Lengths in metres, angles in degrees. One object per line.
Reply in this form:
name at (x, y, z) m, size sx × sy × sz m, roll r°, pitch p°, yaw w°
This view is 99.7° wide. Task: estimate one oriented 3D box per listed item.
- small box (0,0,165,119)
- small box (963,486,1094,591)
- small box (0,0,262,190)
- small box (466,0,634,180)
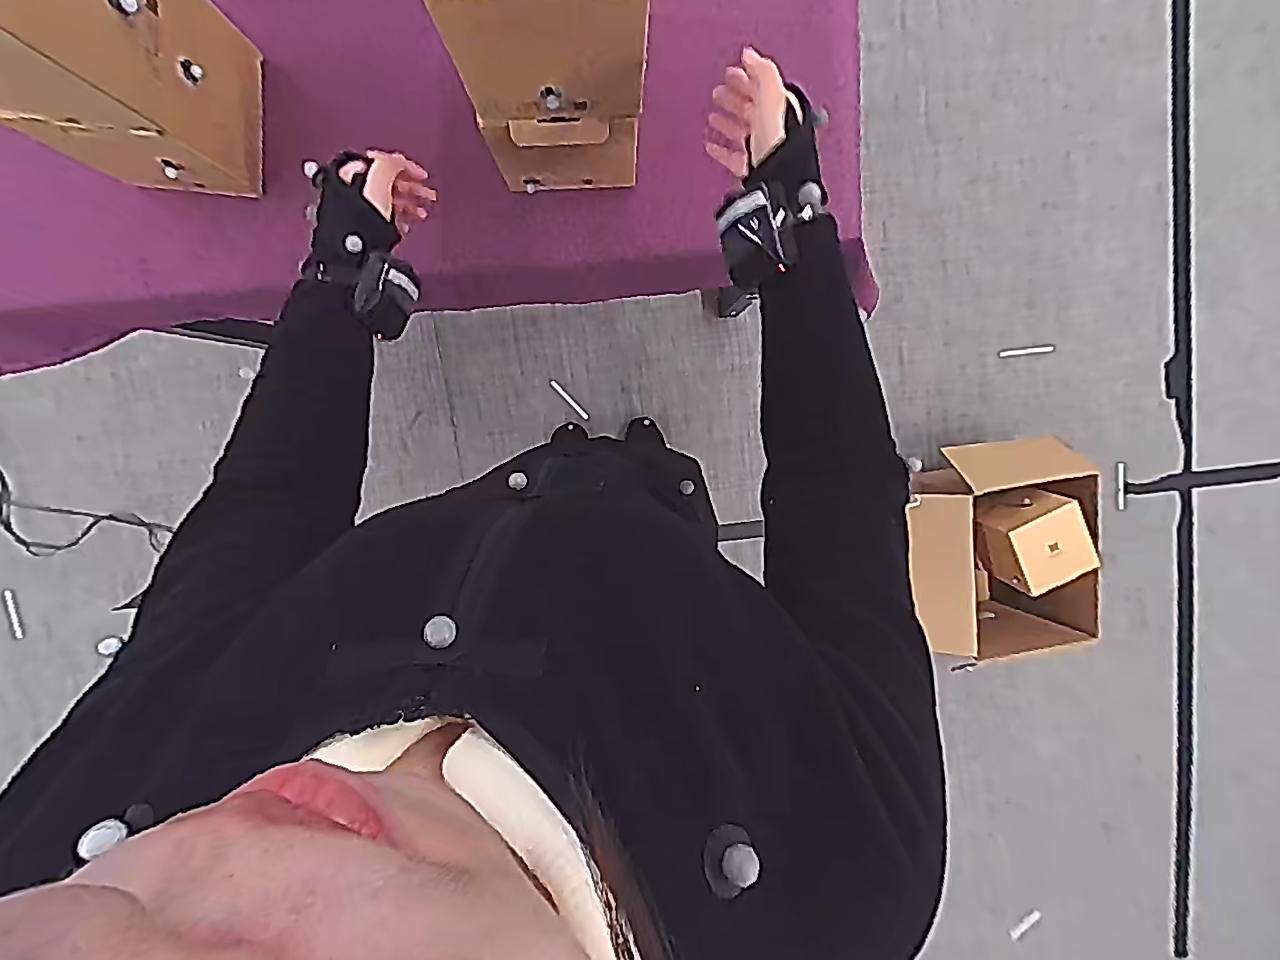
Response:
small box at (-0.543, -0.429, 0.439) m, size 0.179 × 0.176 × 0.168 m, roll 6°, pitch 98°, yaw -4°
small box at (0.915, 0.129, 1.289) m, size 0.168 × 0.176 × 0.179 m, roll -28°, pitch 102°, yaw 4°
small box at (-0.556, -0.449, 0.601) m, size 0.168 × 0.176 × 0.179 m, roll 5°, pitch 97°, yaw -4°
small box at (-0.092, -0.462, 0.617) m, size 0.168 × 0.176 × 0.179 m, roll -3°, pitch 97°, yaw -2°
